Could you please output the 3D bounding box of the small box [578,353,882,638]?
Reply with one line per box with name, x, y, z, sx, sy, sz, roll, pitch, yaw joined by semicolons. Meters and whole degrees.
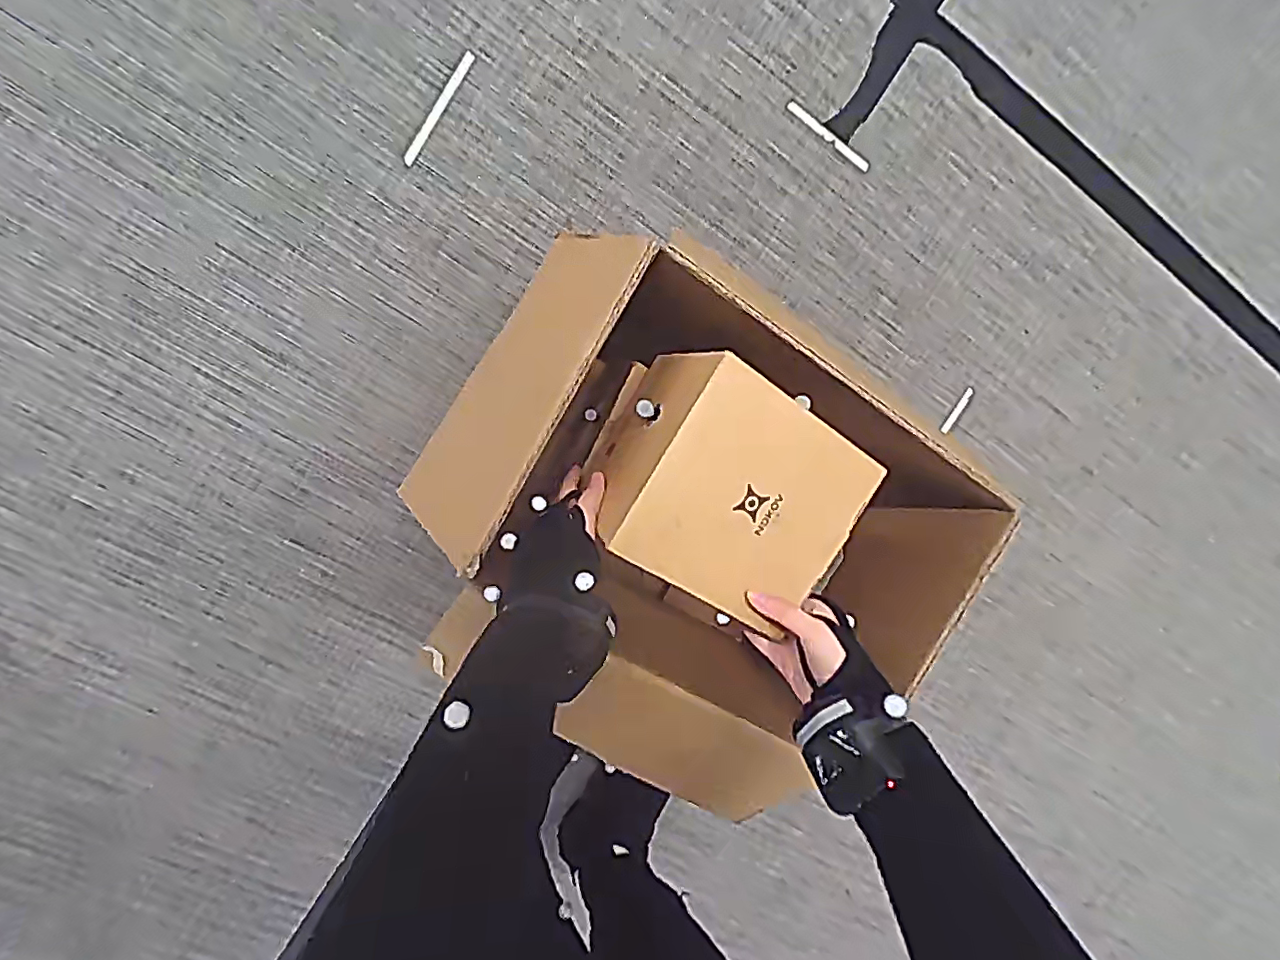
small box;0.063;0.005;0.485;0.179;0.176;0.168;31;92;-21
